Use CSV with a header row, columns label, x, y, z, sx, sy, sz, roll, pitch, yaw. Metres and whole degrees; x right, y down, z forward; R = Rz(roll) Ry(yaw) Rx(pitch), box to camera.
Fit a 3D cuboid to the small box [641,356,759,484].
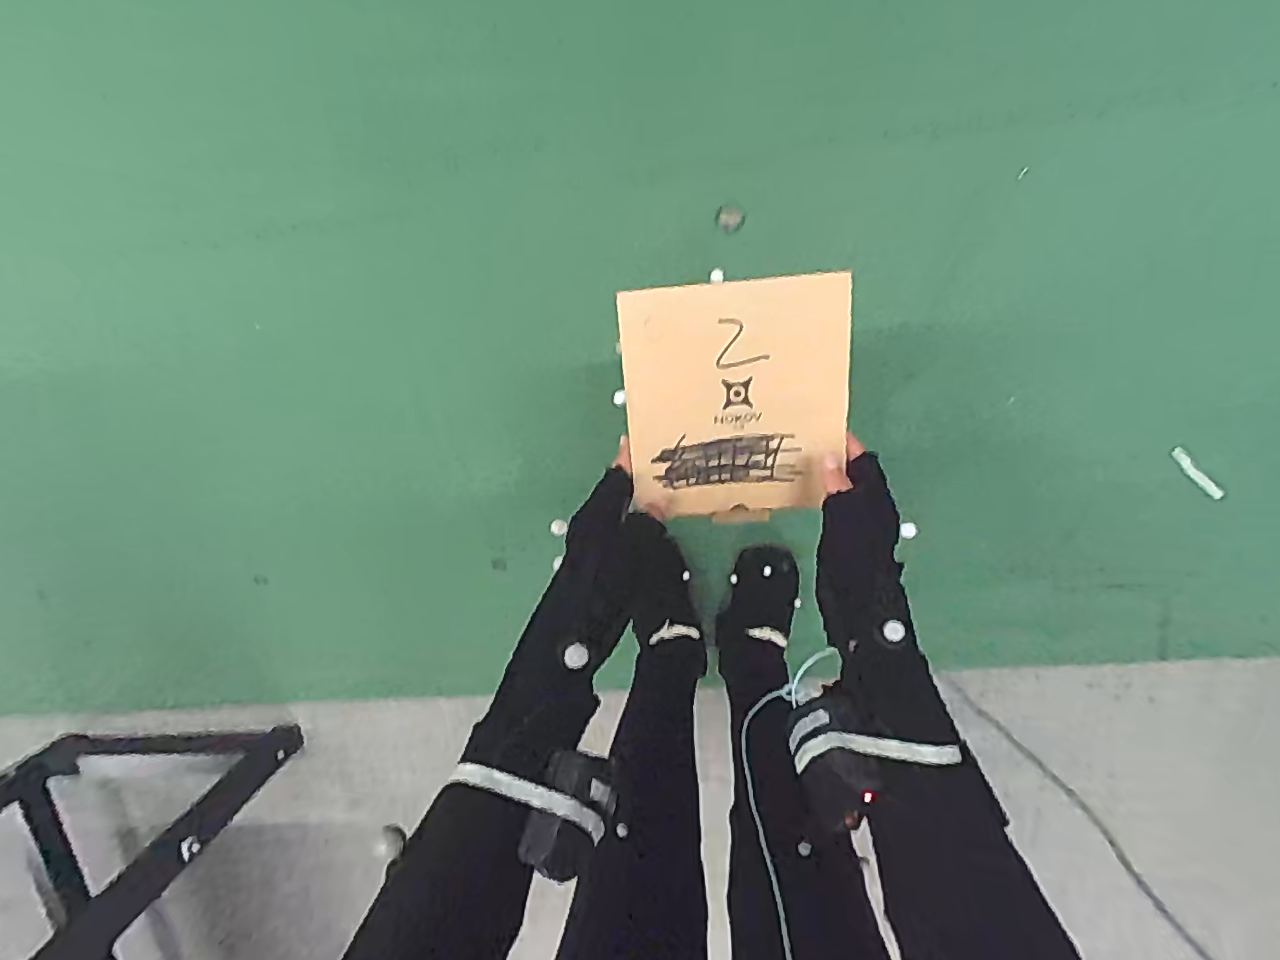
label,x,y,z,sx,sy,sz,roll,pitch,yaw
small box,0.094,-0.100,0.845,0.168,0.176,0.179,-3,102,6
